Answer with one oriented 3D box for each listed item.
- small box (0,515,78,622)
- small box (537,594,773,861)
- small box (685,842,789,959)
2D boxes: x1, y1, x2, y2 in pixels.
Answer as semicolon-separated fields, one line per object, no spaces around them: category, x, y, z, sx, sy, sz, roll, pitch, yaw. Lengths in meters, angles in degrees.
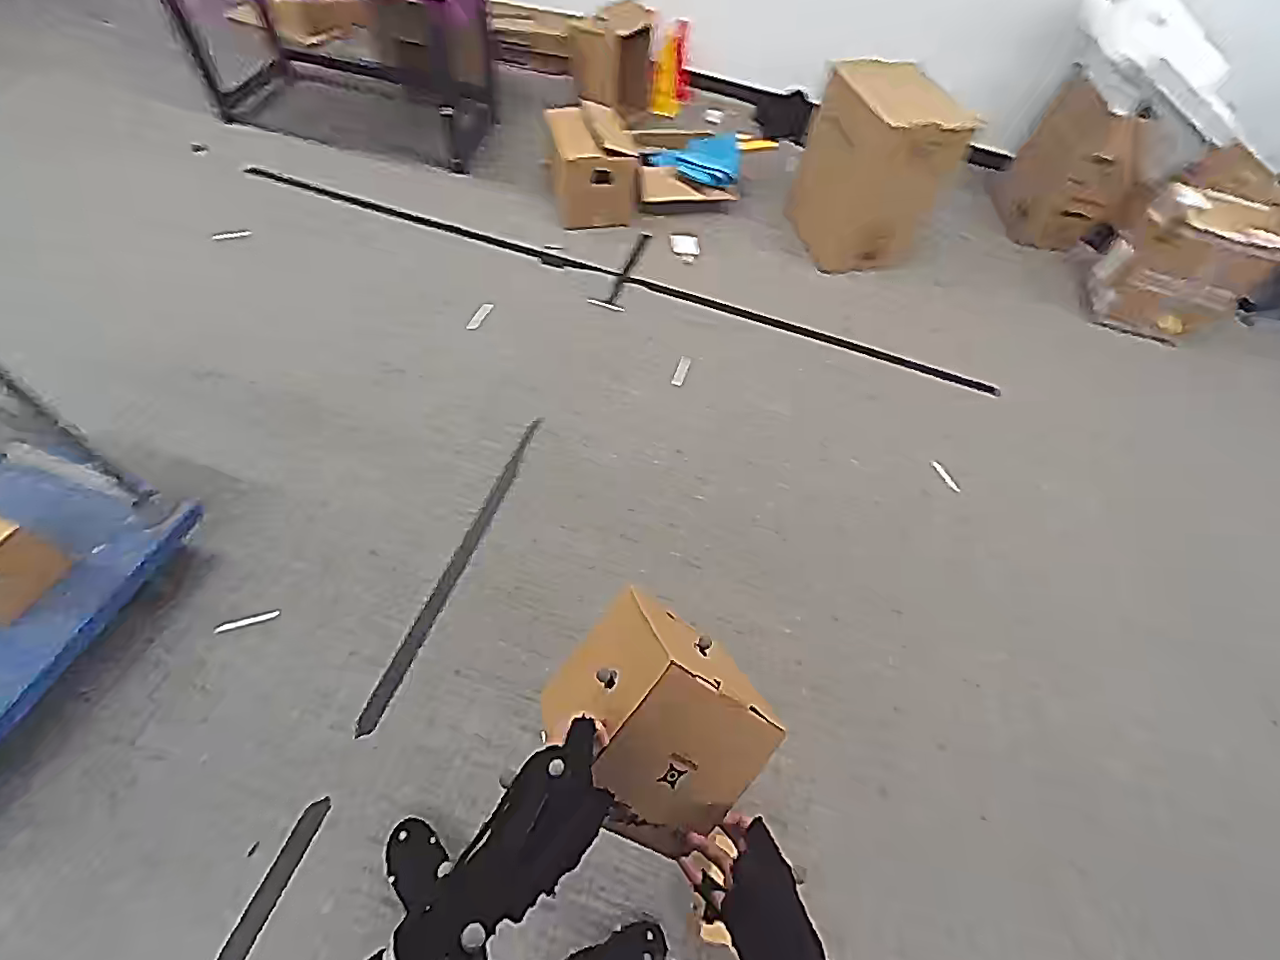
small box;-1.395;0.180;1.158;0.168;0.176;0.179;20;56;6
small box;0.003;0.257;0.596;0.168;0.176;0.179;37;90;-21
small box;0.199;0.890;1.142;0.168;0.176;0.179;17;56;2
